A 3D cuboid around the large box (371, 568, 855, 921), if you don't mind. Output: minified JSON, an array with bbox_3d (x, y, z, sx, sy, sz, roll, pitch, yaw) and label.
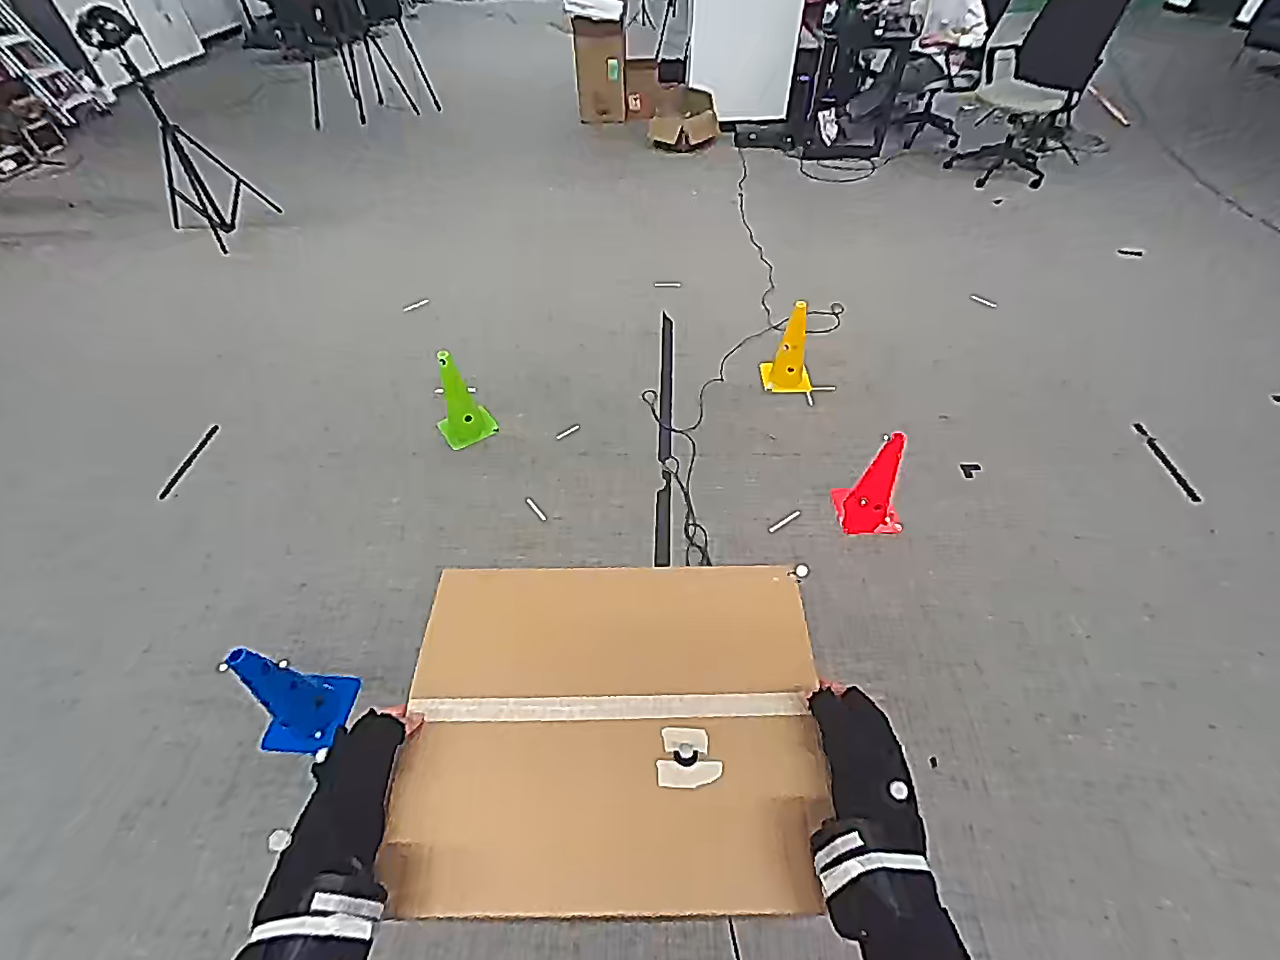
[{"bbox_3d":[-0.024,0.319,0.644,0.408,0.320,0.320,0,51,0],"label":"large box"}]

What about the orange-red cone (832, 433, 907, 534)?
[{"bbox_3d":[0.772,-0.011,1.731,0.198,0.360,0.199,0,47,0],"label":"orange-red cone"}]

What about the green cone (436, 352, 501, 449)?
[{"bbox_3d":[-0.695,-0.332,2.059,0.202,0.368,0.200,-30,53,-21],"label":"green cone"}]

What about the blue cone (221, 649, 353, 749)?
[{"bbox_3d":[-0.892,0.513,1.332,0.192,0.380,0.193,2,48,5],"label":"blue cone"}]
